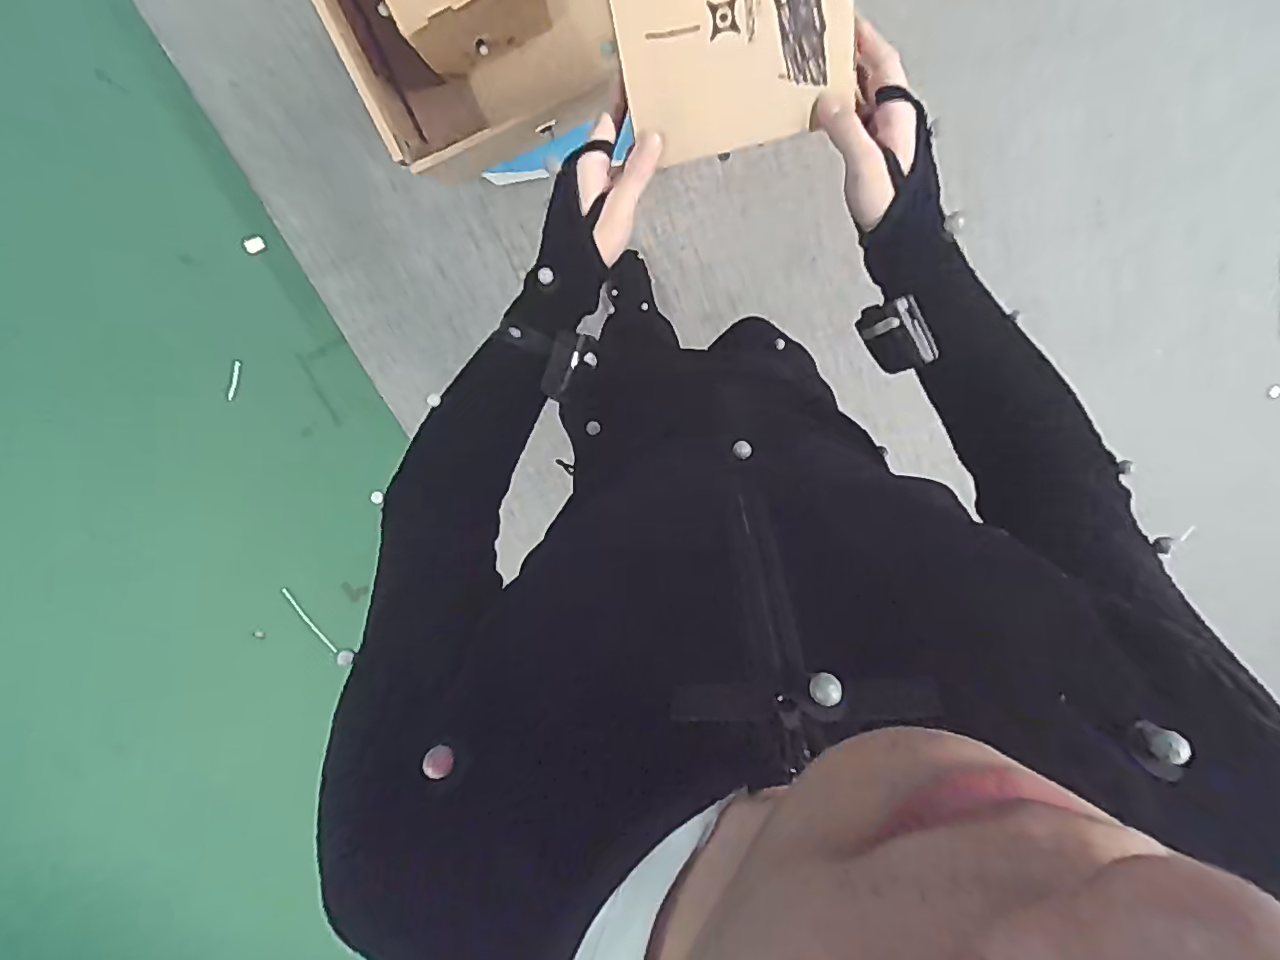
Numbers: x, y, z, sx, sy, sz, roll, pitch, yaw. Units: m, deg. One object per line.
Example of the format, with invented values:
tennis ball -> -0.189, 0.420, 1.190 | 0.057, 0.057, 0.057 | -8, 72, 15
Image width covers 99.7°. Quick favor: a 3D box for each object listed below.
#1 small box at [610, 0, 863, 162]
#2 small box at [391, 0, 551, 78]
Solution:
small box -> 0.068, -0.384, 0.447 | 0.179, 0.176, 0.168 | -10, 126, 7
small box -> -0.215, -0.608, 0.612 | 0.168, 0.176, 0.179 | -24, 112, 5
